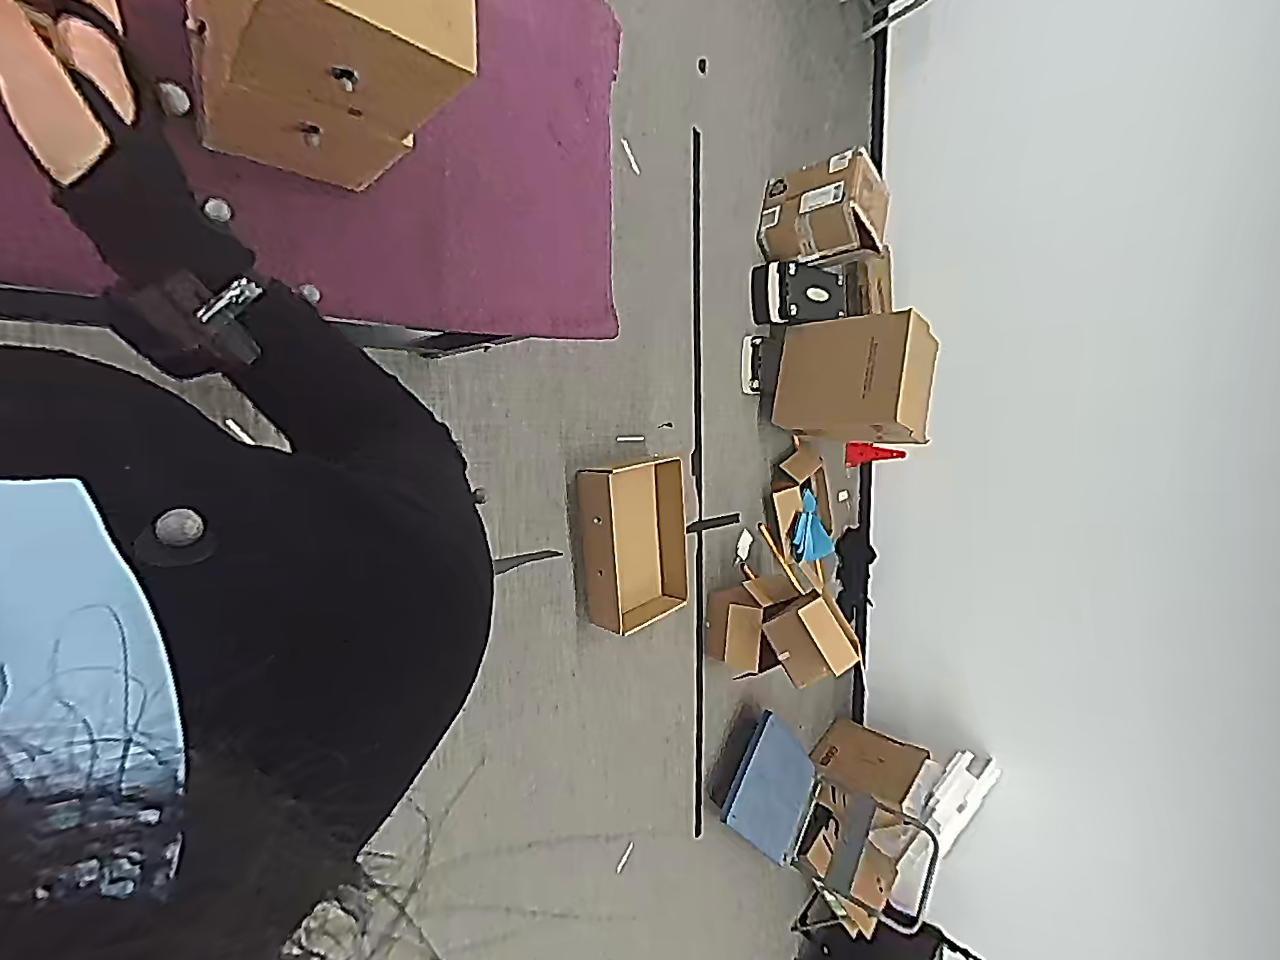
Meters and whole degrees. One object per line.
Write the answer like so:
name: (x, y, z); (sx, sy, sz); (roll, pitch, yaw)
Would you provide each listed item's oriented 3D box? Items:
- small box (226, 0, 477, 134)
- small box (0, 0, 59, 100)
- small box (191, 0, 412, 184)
small box: (-0.268, -0.462, 0.500); (0.168, 0.176, 0.179); (-6, 98, -46)
small box: (-0.578, -0.434, 0.411); (0.179, 0.176, 0.168); (-7, 99, -47)
small box: (-0.384, -0.466, 0.618); (0.179, 0.176, 0.168); (-6, 98, -46)
